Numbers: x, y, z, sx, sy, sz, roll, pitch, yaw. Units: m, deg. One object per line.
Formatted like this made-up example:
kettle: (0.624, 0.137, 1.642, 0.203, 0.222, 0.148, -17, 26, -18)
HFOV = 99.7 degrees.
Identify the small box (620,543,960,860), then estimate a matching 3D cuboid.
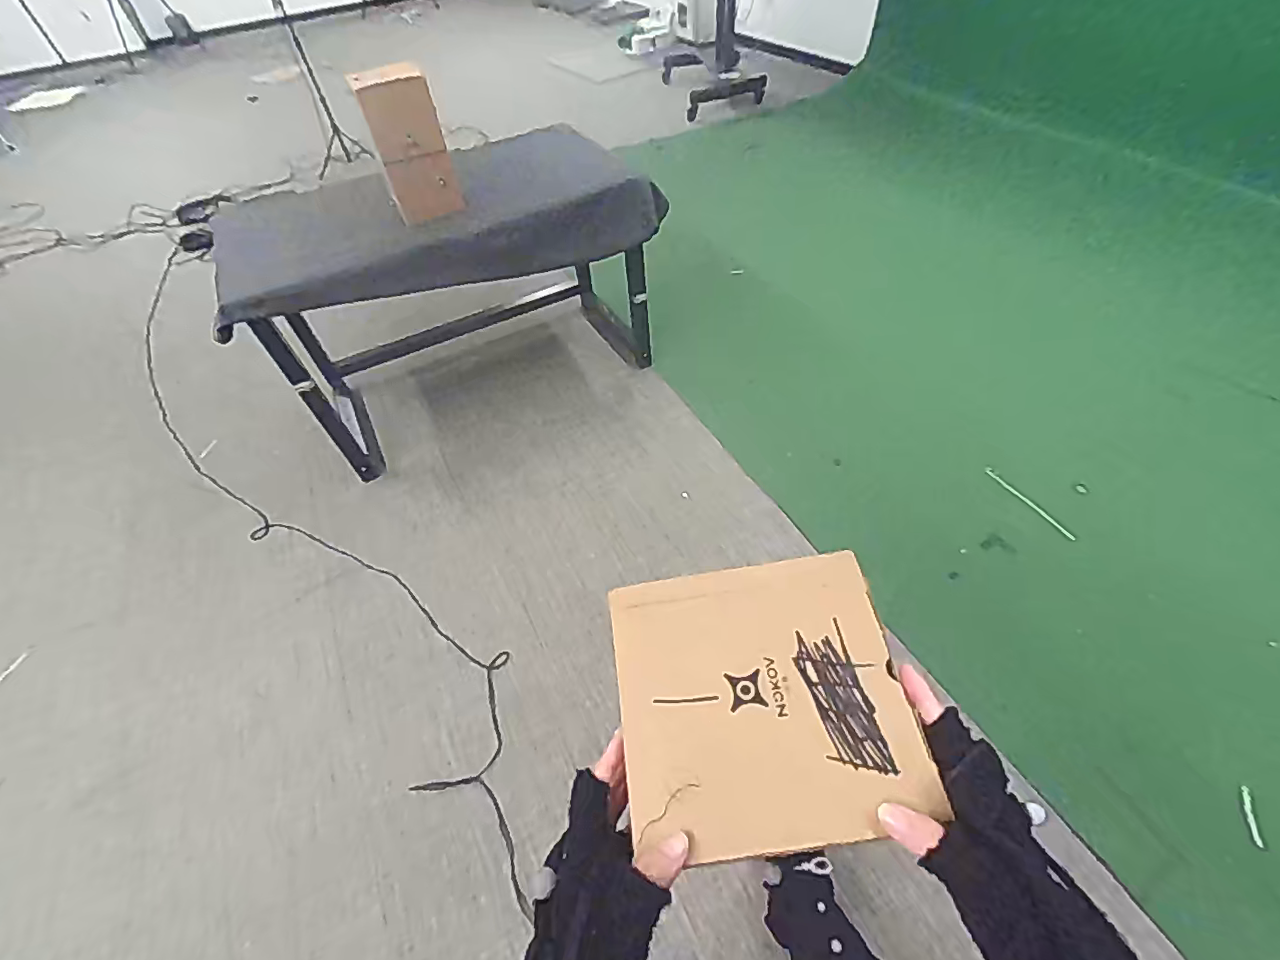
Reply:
small box: (0.088, 0.170, 0.409, 0.179, 0.176, 0.168, -11, 55, -3)

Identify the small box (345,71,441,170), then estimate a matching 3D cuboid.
small box: (-0.645, -0.951, 1.430, 0.179, 0.176, 0.168, -24, 51, -15)

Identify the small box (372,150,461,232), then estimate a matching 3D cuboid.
small box: (-0.634, -0.847, 1.556, 0.179, 0.176, 0.168, -27, 51, -15)
